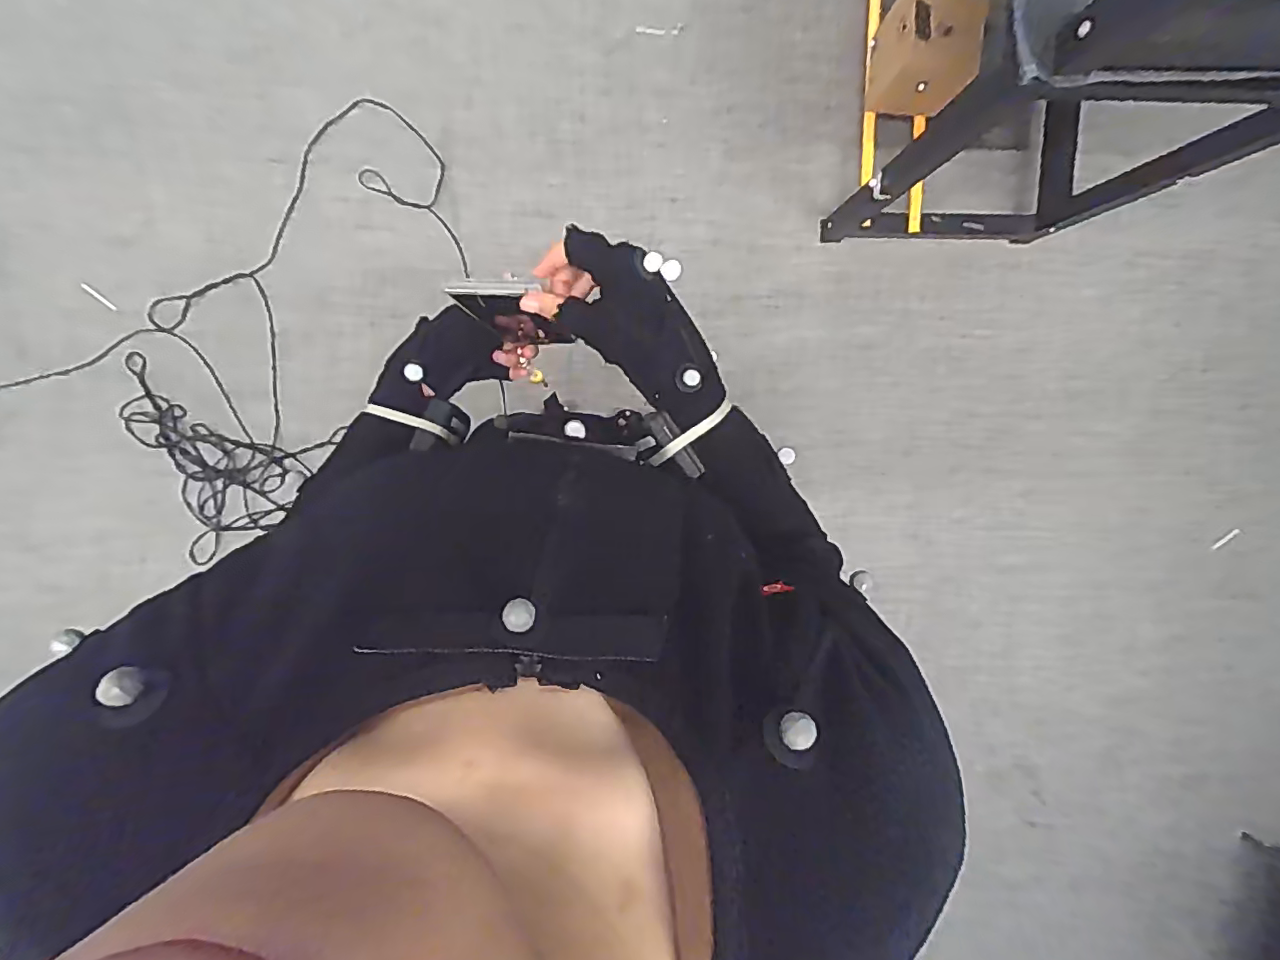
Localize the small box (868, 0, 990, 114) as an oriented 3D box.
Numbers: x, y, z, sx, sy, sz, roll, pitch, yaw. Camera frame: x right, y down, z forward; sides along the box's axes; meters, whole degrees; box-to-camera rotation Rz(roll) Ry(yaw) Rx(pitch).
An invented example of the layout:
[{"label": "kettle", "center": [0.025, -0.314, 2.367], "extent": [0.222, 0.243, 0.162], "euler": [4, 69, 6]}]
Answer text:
[{"label": "small box", "center": [0.630, -0.944, 1.197], "extent": [0.179, 0.176, 0.168], "euler": [3, 97, -3]}]
